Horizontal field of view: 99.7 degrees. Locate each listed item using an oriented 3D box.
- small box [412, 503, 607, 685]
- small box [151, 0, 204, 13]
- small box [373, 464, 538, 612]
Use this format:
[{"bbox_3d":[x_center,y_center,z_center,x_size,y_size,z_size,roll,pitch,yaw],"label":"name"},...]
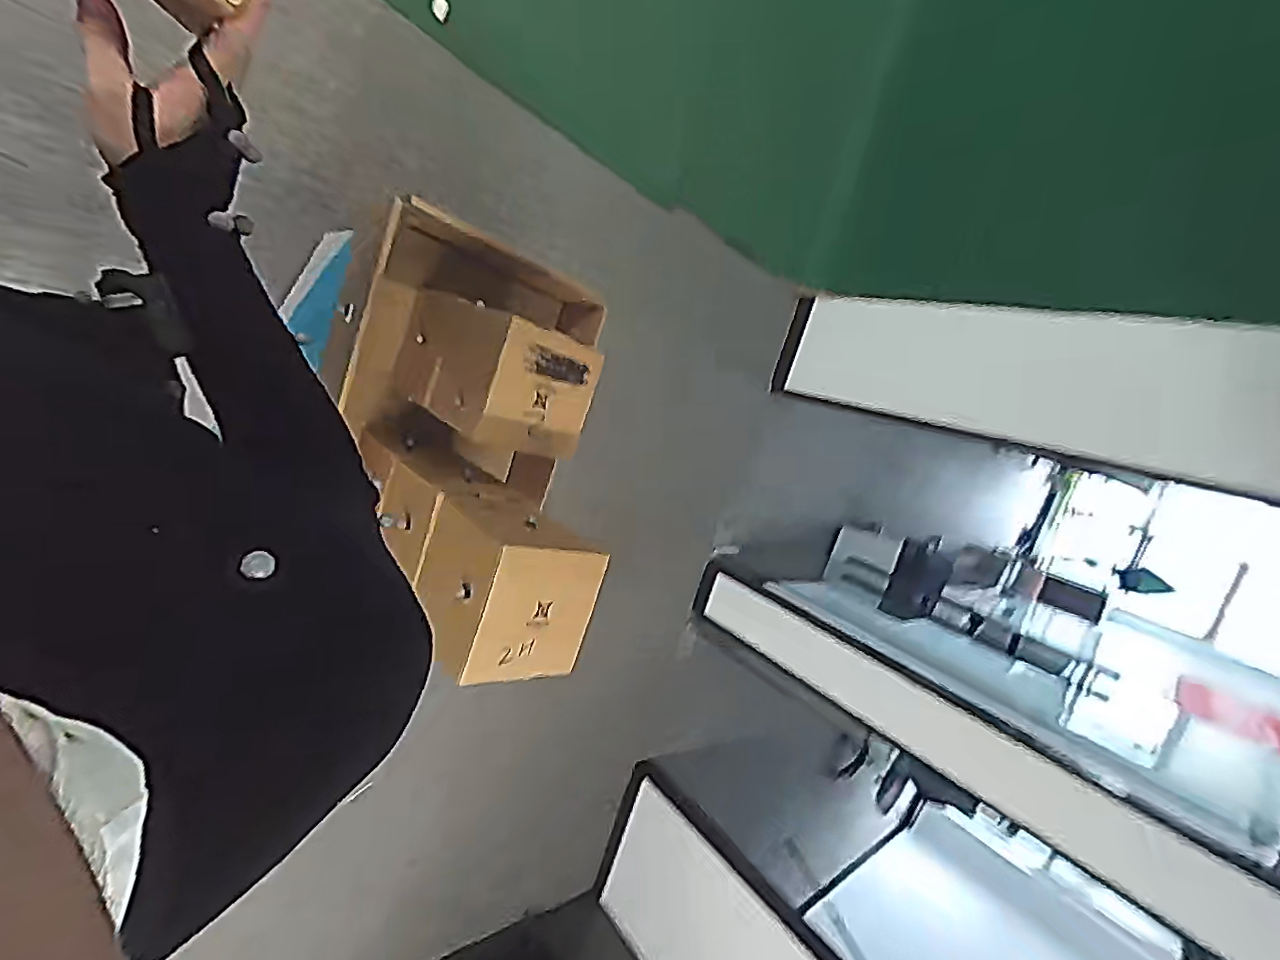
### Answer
[{"bbox_3d":[-0.178,0.143,0.718,0.168,0.176,0.179,15,98,-45],"label":"small box"},{"bbox_3d":[-0.307,-0.416,0.303,0.168,0.176,0.179,-58,143,0],"label":"small box"},{"bbox_3d":[-0.287,0.085,0.829,0.168,0.176,0.179,12,97,-44],"label":"small box"}]
